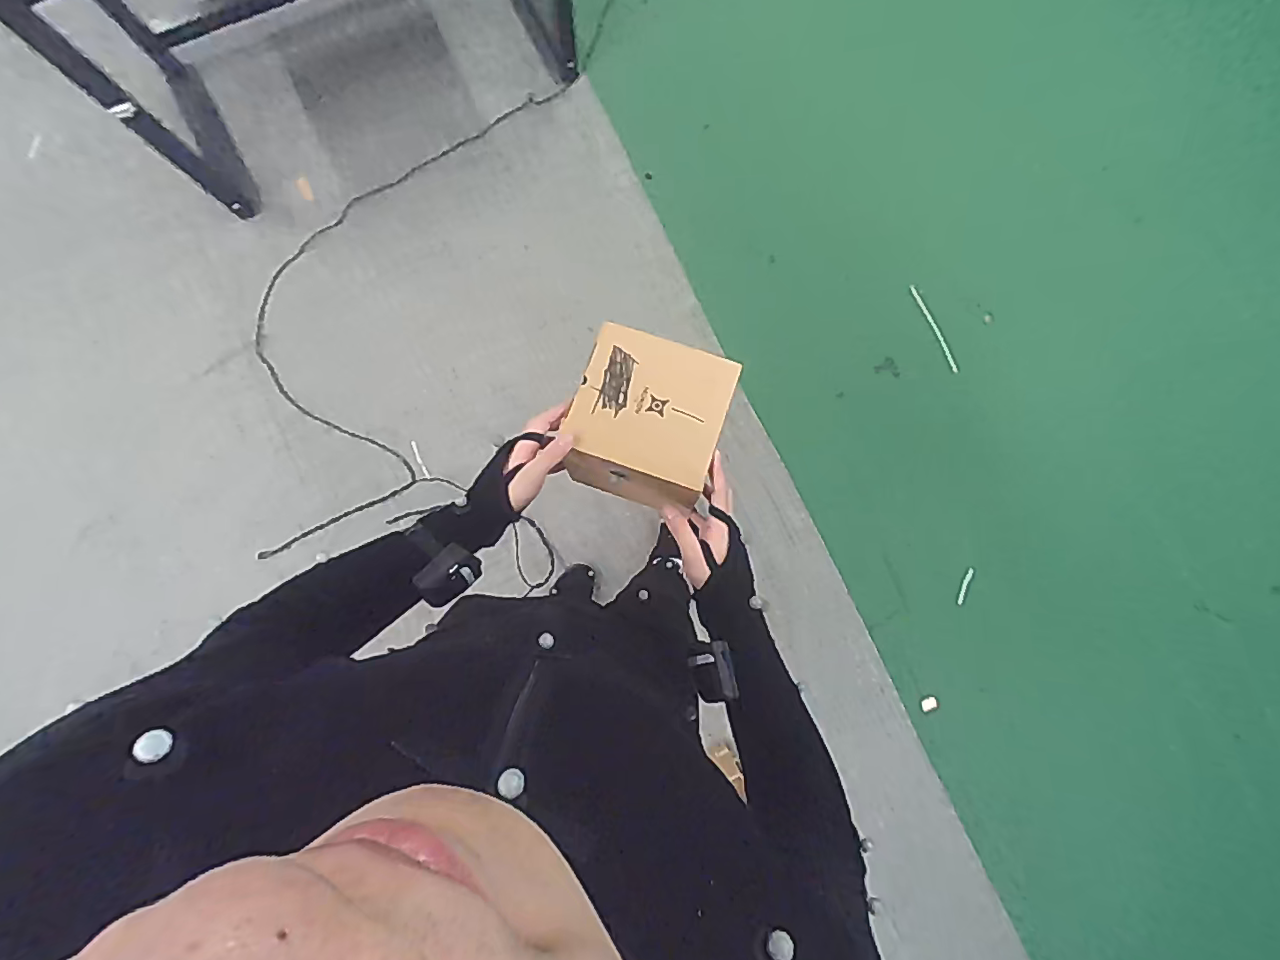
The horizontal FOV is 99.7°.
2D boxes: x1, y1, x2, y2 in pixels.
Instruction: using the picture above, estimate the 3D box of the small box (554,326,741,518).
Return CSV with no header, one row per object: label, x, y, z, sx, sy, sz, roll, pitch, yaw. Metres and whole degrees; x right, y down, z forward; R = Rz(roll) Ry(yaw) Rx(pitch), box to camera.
small box,0.008,-0.063,0.695,0.179,0.176,0.168,20,75,3
